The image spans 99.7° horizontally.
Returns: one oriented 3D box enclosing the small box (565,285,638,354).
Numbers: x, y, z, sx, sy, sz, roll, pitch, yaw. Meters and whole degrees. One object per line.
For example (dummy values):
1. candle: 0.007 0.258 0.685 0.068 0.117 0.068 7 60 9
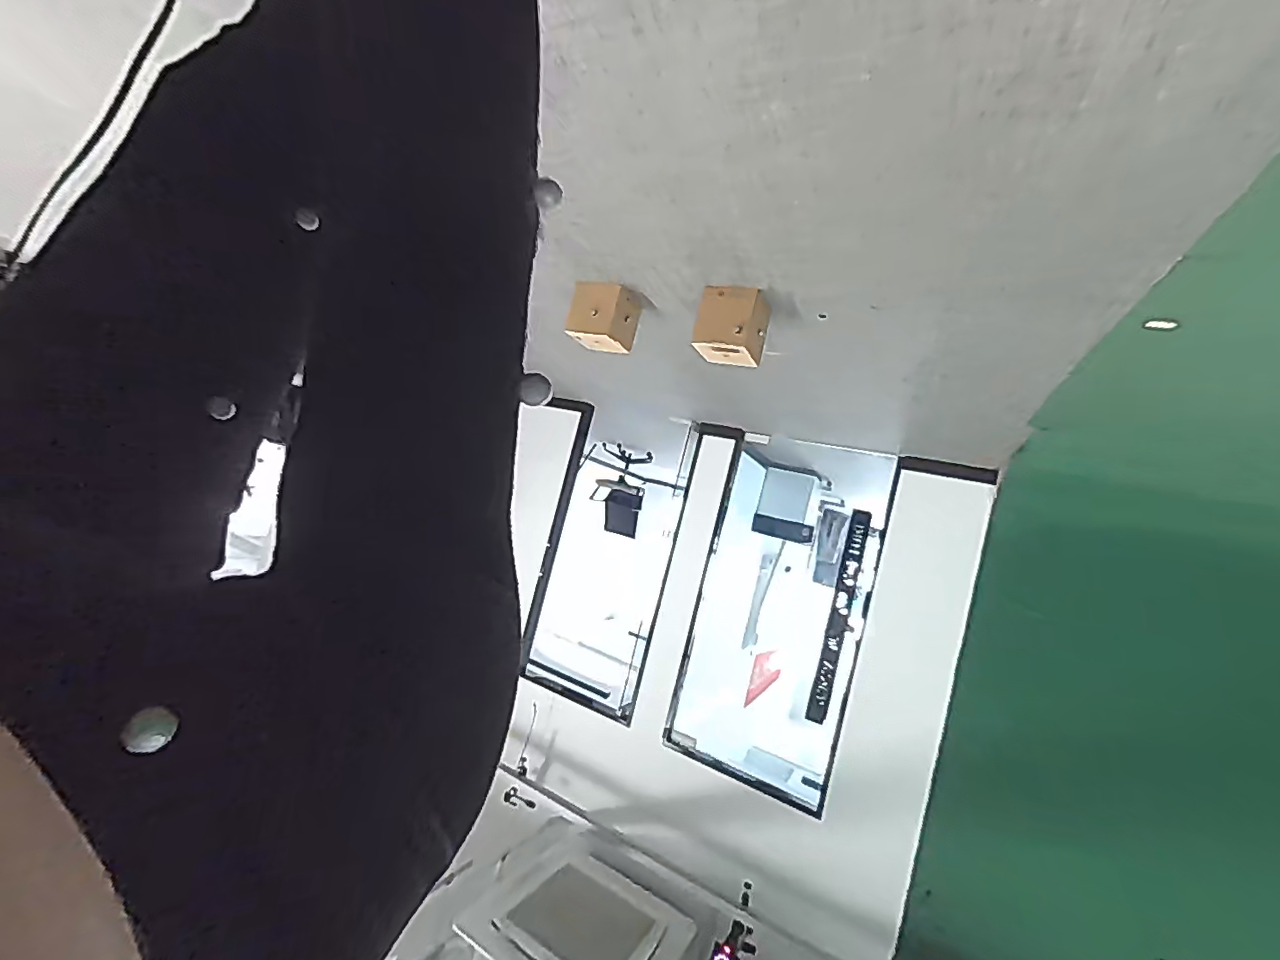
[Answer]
1. small box: -0.121 -0.531 1.788 0.179 0.176 0.168 12 176 26
